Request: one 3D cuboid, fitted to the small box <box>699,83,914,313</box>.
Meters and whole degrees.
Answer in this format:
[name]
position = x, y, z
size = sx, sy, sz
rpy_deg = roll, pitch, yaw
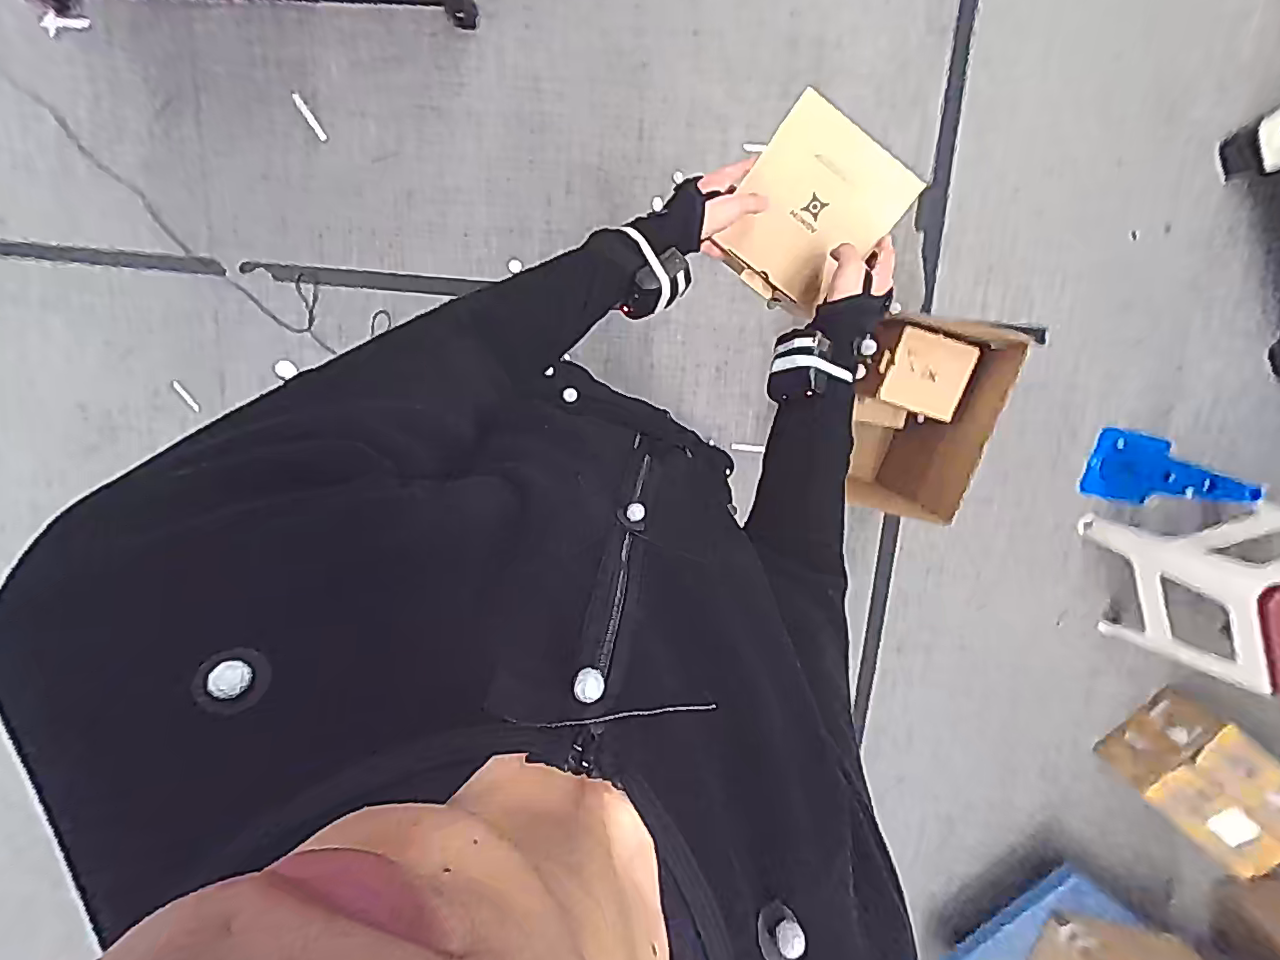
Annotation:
[small box]
position = 0.192, -0.330, 0.674
size = 0.168, 0.176, 0.179
rpy_deg = 35, 108, -6
